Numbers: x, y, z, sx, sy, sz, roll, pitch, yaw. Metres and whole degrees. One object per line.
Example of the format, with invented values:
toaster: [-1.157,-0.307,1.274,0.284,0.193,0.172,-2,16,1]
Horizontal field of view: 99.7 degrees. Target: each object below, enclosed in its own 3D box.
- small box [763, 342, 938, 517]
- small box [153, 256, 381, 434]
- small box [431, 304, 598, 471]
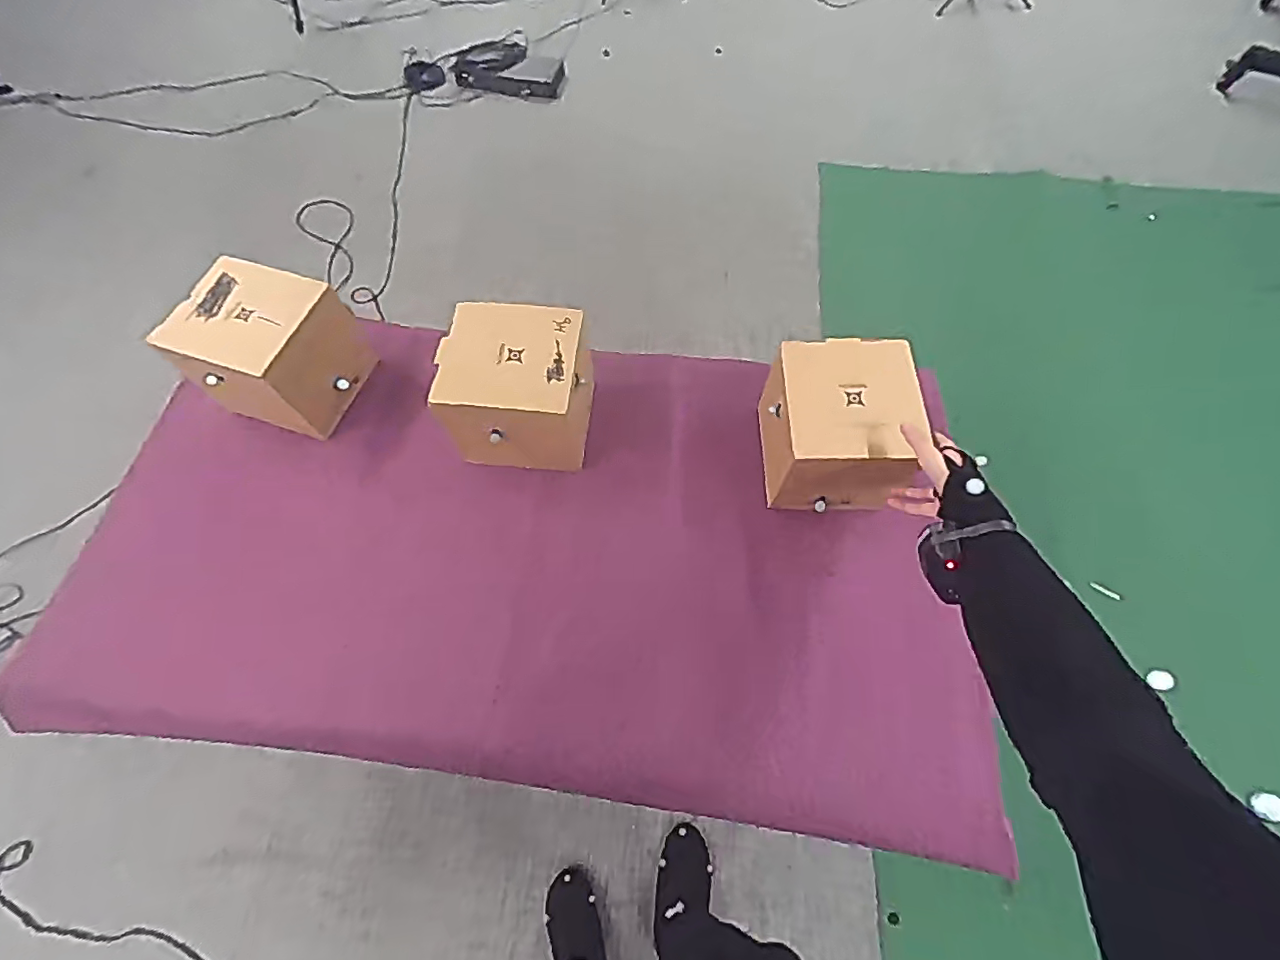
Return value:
small box: [0.267,-0.064,0.733,0.168,0.176,0.179,1,65,2]
small box: [-0.524,-0.188,0.791,0.179,0.176,0.168,17,66,7]
small box: [-0.162,-0.123,0.762,0.179,0.176,0.168,5,65,3]
